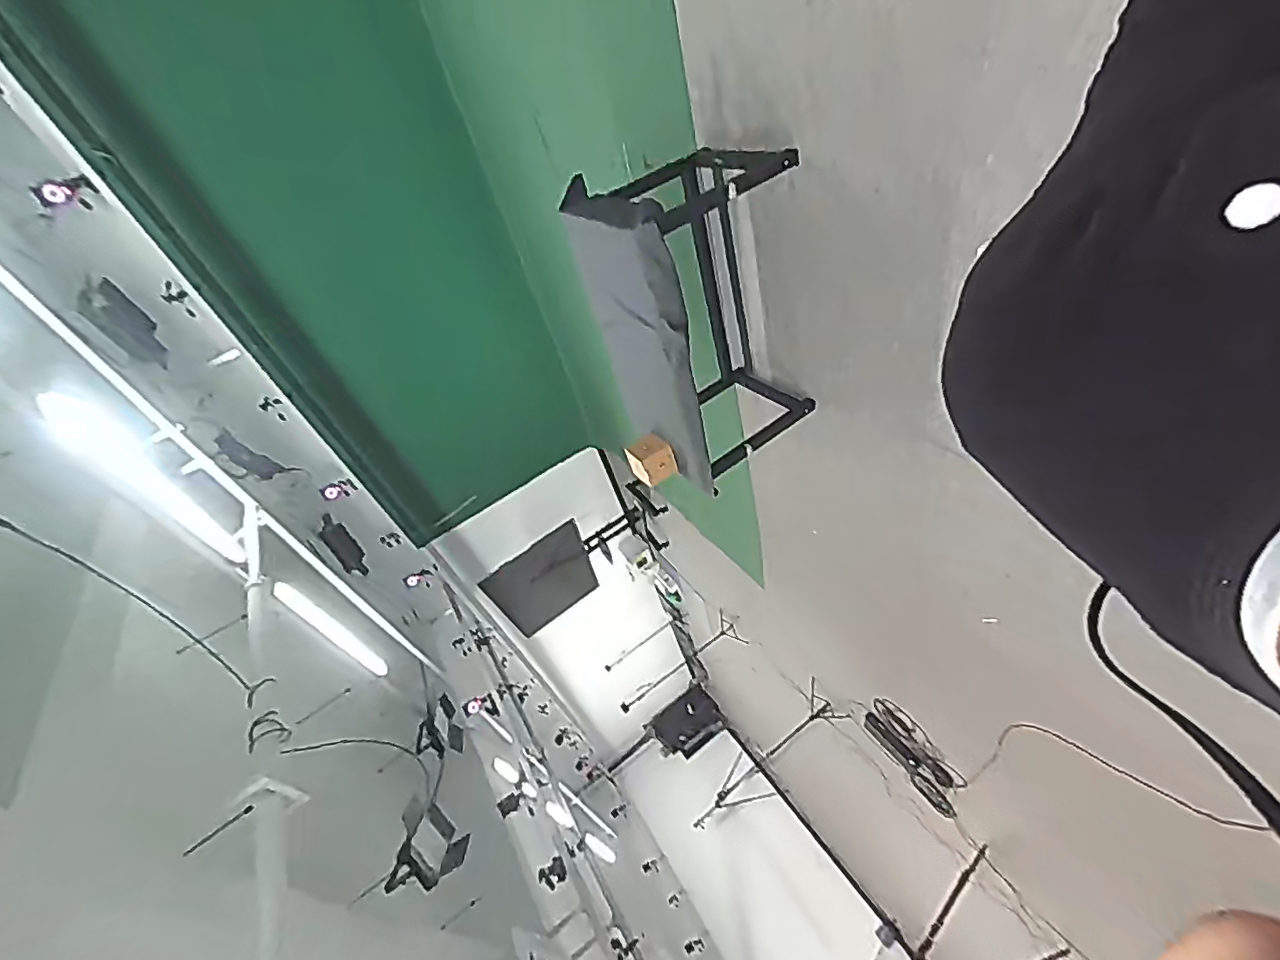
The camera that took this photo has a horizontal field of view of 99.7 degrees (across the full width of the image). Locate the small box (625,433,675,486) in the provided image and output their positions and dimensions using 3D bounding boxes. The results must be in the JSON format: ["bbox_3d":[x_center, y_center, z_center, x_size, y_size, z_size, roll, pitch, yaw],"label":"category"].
[{"bbox_3d":[0.058,-0.108,2.656,0.179,0.176,0.168,39,156,49],"label":"small box"}]
